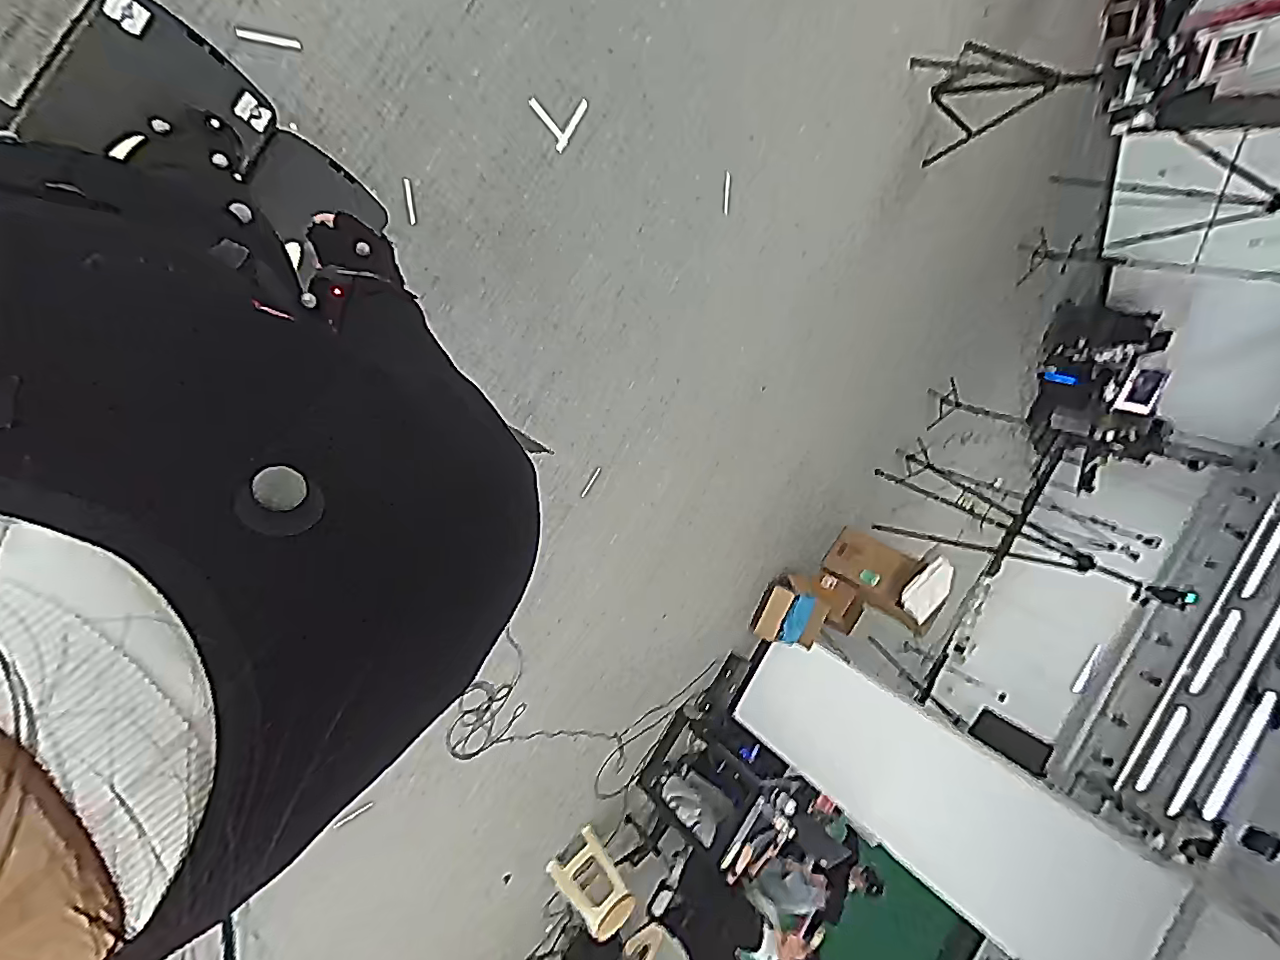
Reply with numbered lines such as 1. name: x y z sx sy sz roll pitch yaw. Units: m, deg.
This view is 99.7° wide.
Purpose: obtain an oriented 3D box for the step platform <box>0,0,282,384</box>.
1. step platform: -1.007 -0.532 1.041 0.286 0.204 0.684 32 87 -51
